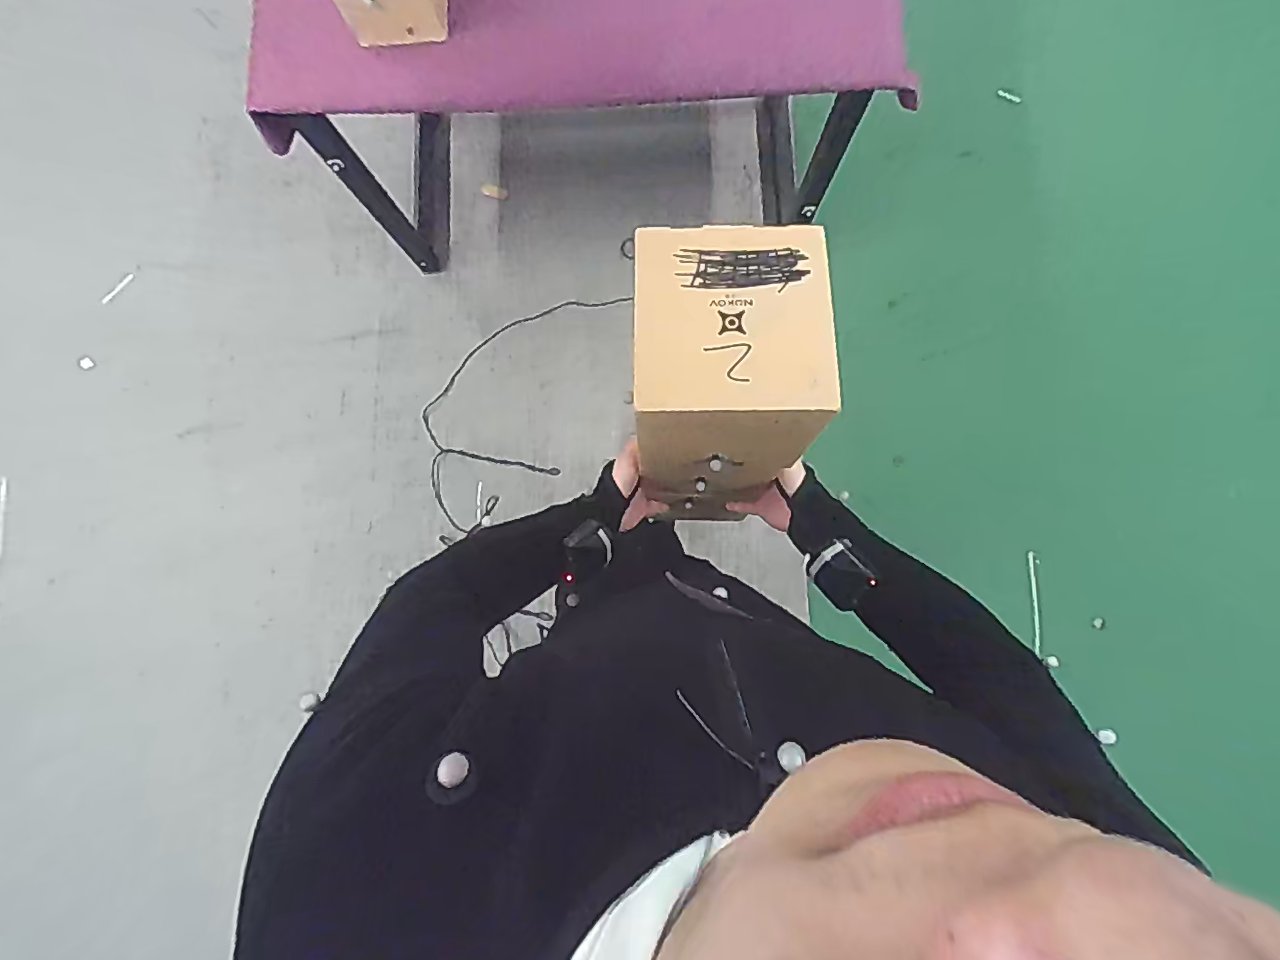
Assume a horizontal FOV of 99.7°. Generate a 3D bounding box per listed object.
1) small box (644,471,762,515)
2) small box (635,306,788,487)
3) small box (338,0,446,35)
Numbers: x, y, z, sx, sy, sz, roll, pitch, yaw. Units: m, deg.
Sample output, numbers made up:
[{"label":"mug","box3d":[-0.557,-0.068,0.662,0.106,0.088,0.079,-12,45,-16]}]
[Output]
[{"label":"small box","box3d":[0.094,-0.050,0.842,0.168,0.176,0.179,2,76,4]},{"label":"small box","box3d":[0.086,-0.094,0.681,0.168,0.176,0.179,3,75,3]},{"label":"small box","box3d":[-0.446,-0.912,0.931,0.168,0.176,0.179,-4,84,2]}]
